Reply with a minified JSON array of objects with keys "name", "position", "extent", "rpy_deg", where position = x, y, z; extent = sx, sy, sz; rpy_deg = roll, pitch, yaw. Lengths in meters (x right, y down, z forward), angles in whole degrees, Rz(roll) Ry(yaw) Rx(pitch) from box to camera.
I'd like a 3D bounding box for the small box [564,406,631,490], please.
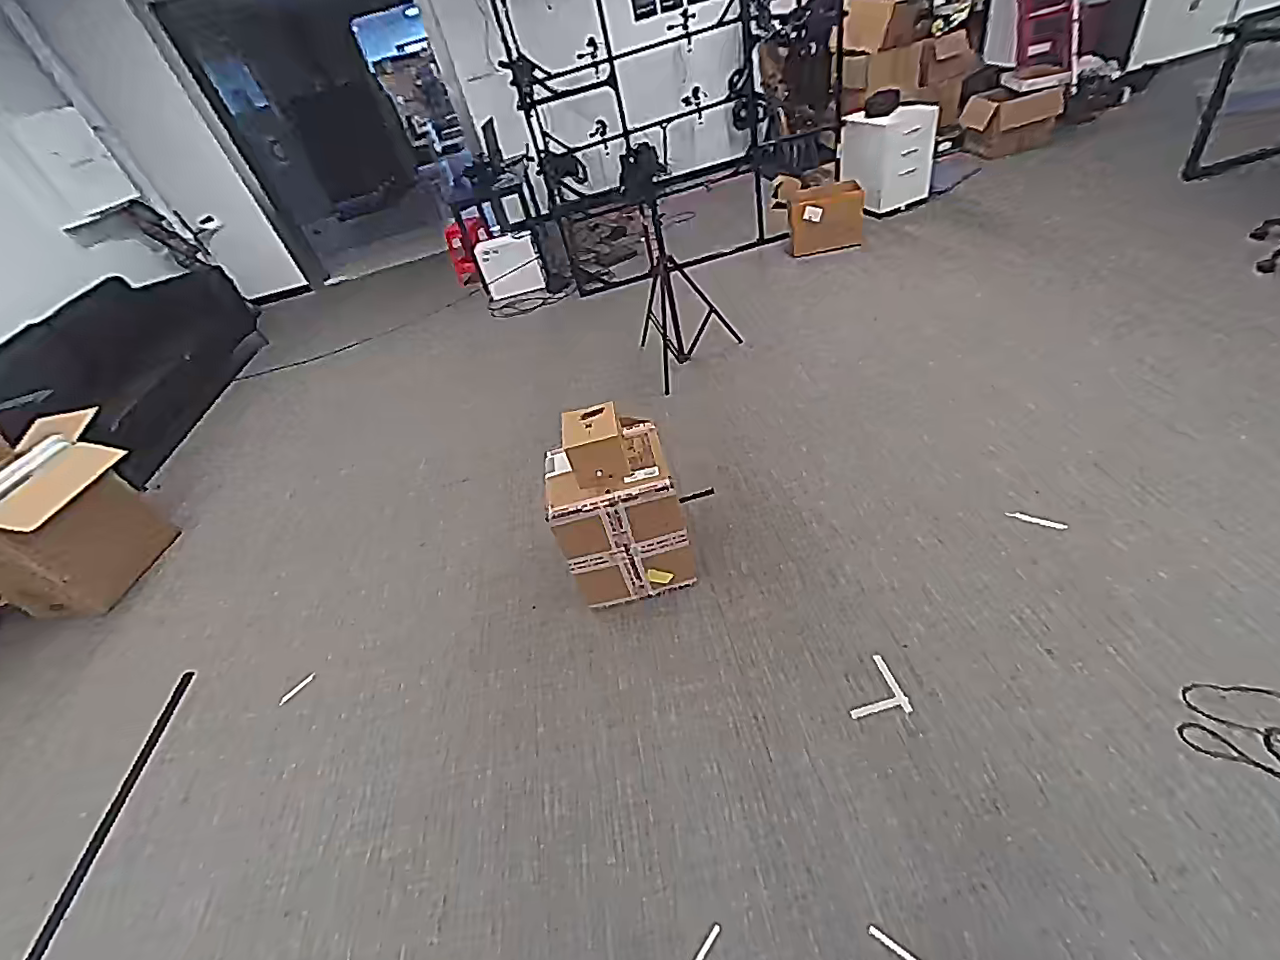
[{"name":"small box","position":[-0.131,-0.096,1.657],"extent":[0.168,0.176,0.179],"rpy_deg":[-14,43,3]}]
